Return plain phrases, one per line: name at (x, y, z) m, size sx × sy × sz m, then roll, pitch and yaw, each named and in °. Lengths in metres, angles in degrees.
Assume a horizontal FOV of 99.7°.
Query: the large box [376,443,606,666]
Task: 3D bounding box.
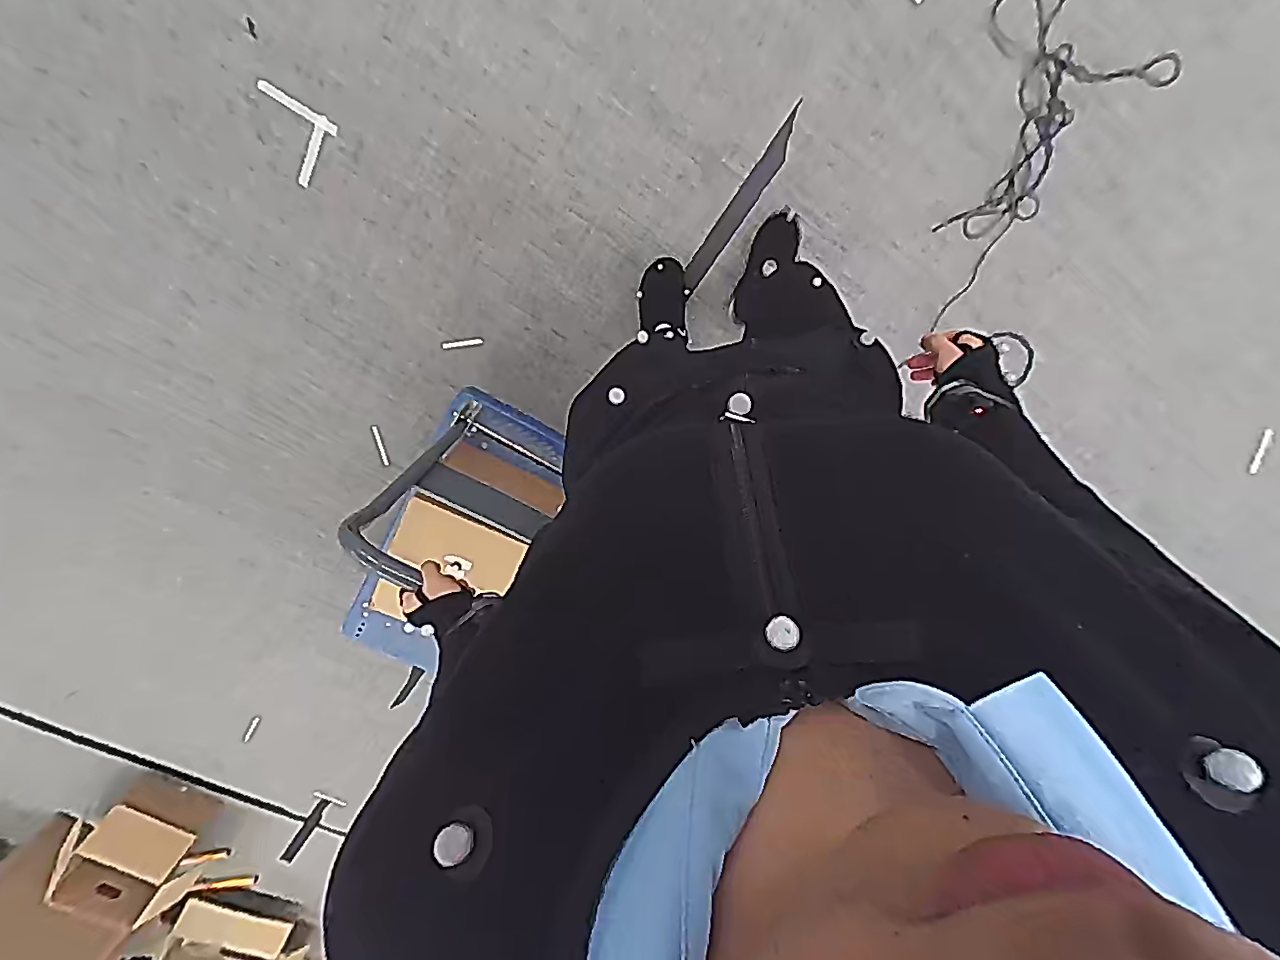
large box at (-0.332, 0.169, 1.298) m, size 0.408 × 0.320 × 0.320 m, roll 26°, pitch 112°, yaw -10°
